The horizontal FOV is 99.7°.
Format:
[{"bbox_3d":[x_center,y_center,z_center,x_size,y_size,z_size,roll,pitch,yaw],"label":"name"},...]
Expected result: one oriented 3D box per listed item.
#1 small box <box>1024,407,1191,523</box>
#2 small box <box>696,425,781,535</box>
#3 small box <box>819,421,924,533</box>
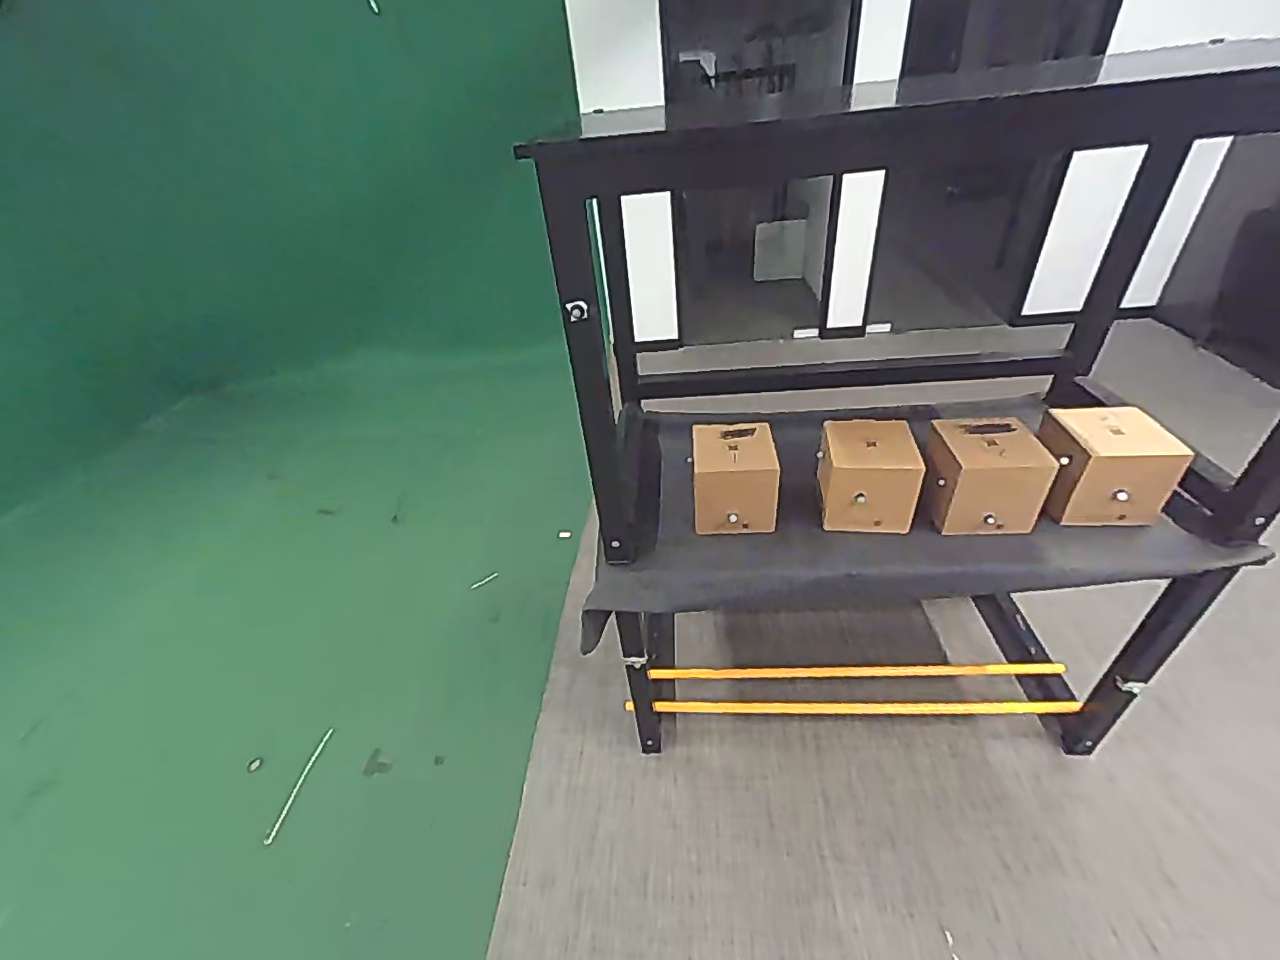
[{"bbox_3d":[0.909,-0.027,1.073,0.168,0.176,0.179,-1,36,8],"label":"small box"},{"bbox_3d":[0.203,-0.001,1.158,0.168,0.176,0.179,-3,37,6],"label":"small box"},{"bbox_3d":[0.471,-0.006,1.124,0.168,0.176,0.179,1,37,11],"label":"small box"}]
